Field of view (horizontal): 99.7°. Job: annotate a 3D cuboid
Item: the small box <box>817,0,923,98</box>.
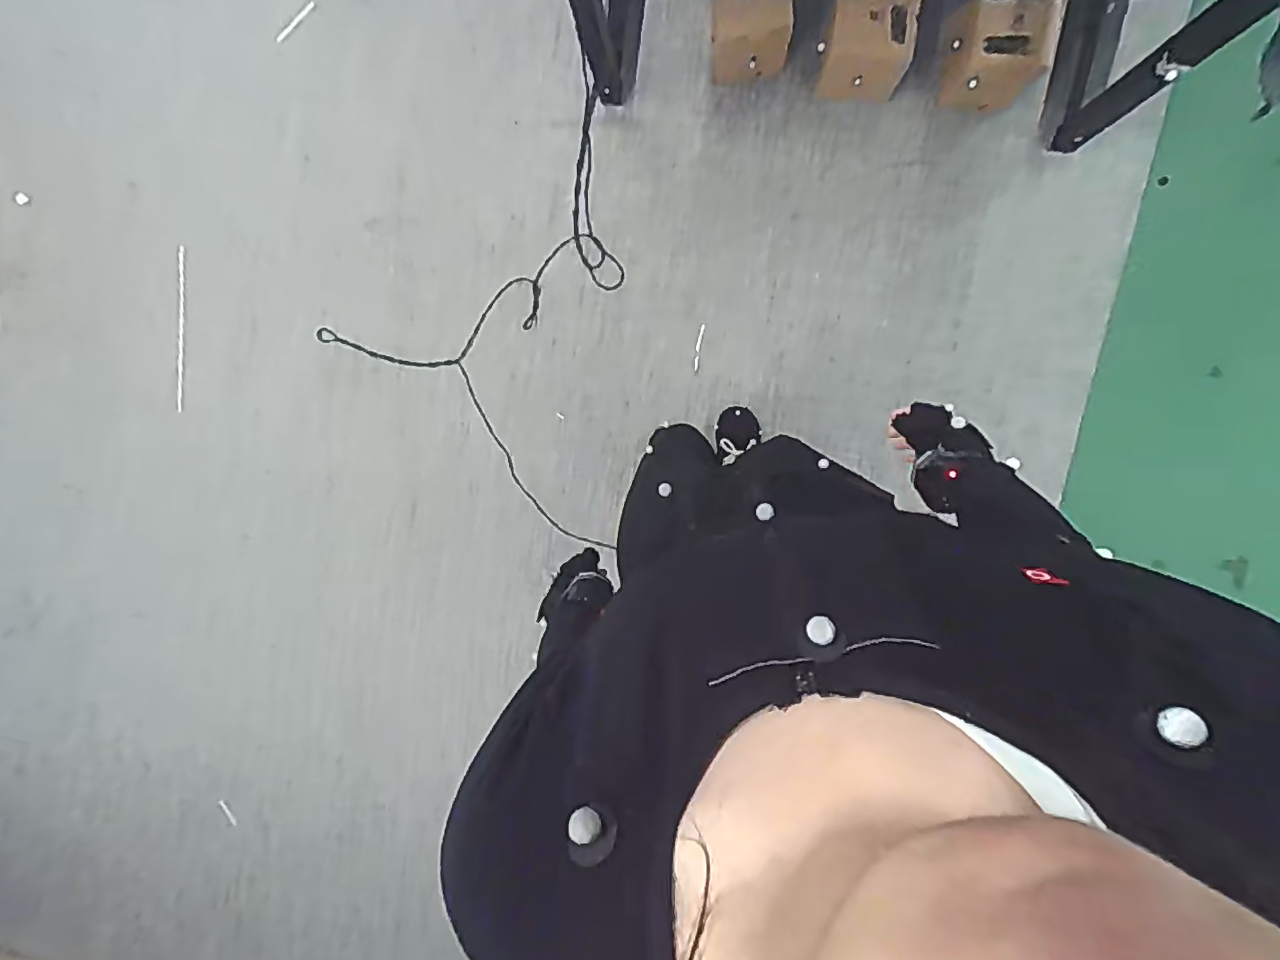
[{"bbox_3d":[0.525,-1.013,1.243,0.179,0.176,0.168,7,98,6],"label":"small box"}]
